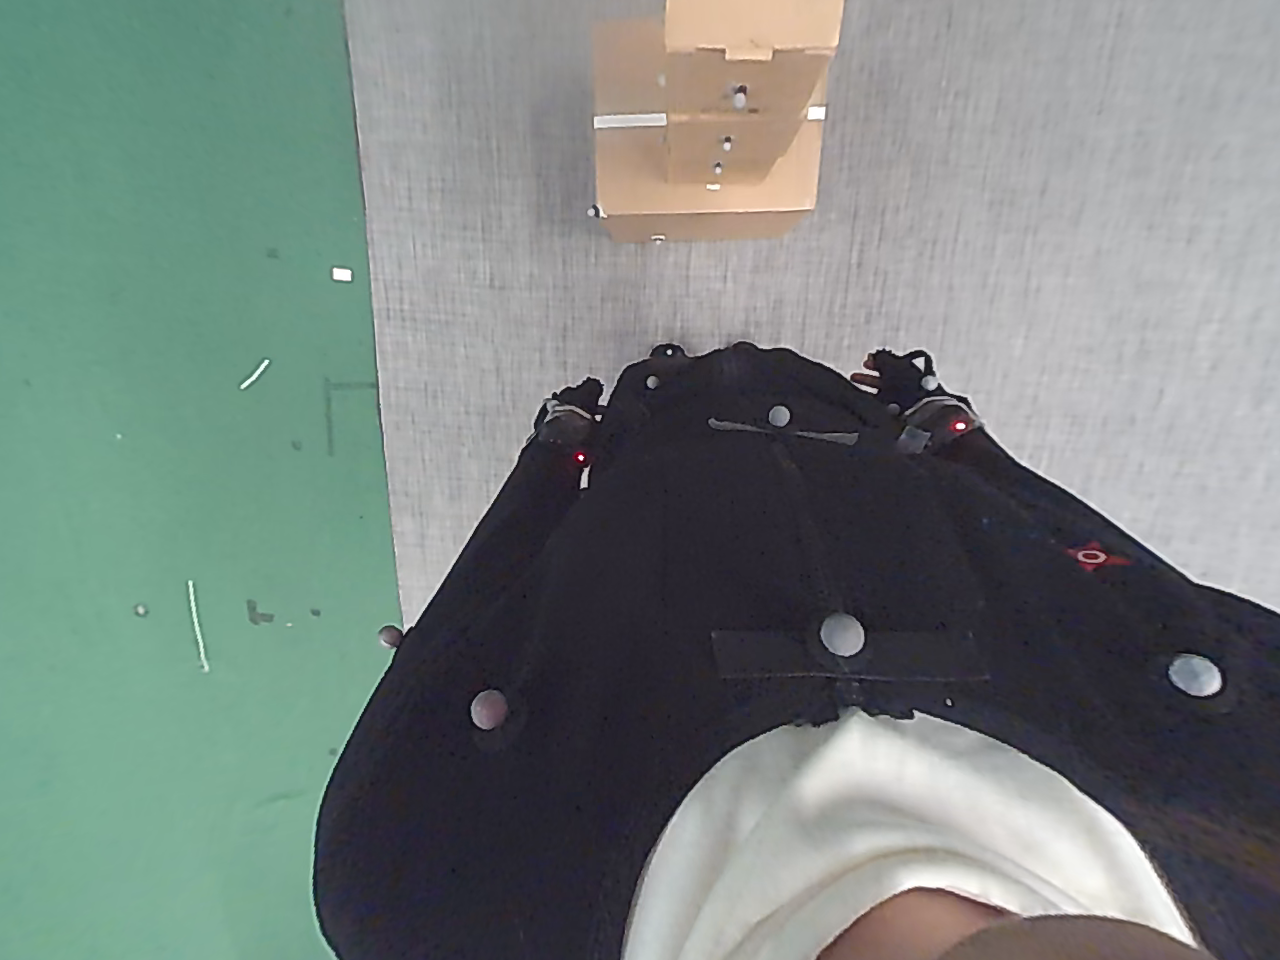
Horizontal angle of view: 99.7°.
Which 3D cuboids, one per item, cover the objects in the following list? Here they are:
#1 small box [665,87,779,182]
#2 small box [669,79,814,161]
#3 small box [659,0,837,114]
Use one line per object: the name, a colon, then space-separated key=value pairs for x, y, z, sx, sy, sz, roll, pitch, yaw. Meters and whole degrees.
small box: x=0.133 y=-0.598 z=0.884 sx=0.179 sy=0.176 sz=0.168 roll=2 pitch=107 yaw=3
small box: x=0.128 y=-0.547 z=0.728 sx=0.179 sy=0.176 sz=0.168 roll=-2 pitch=106 yaw=4
small box: x=0.113 y=-0.512 z=0.569 sx=0.168 sy=0.176 sz=0.179 roll=5 pitch=107 yaw=4
